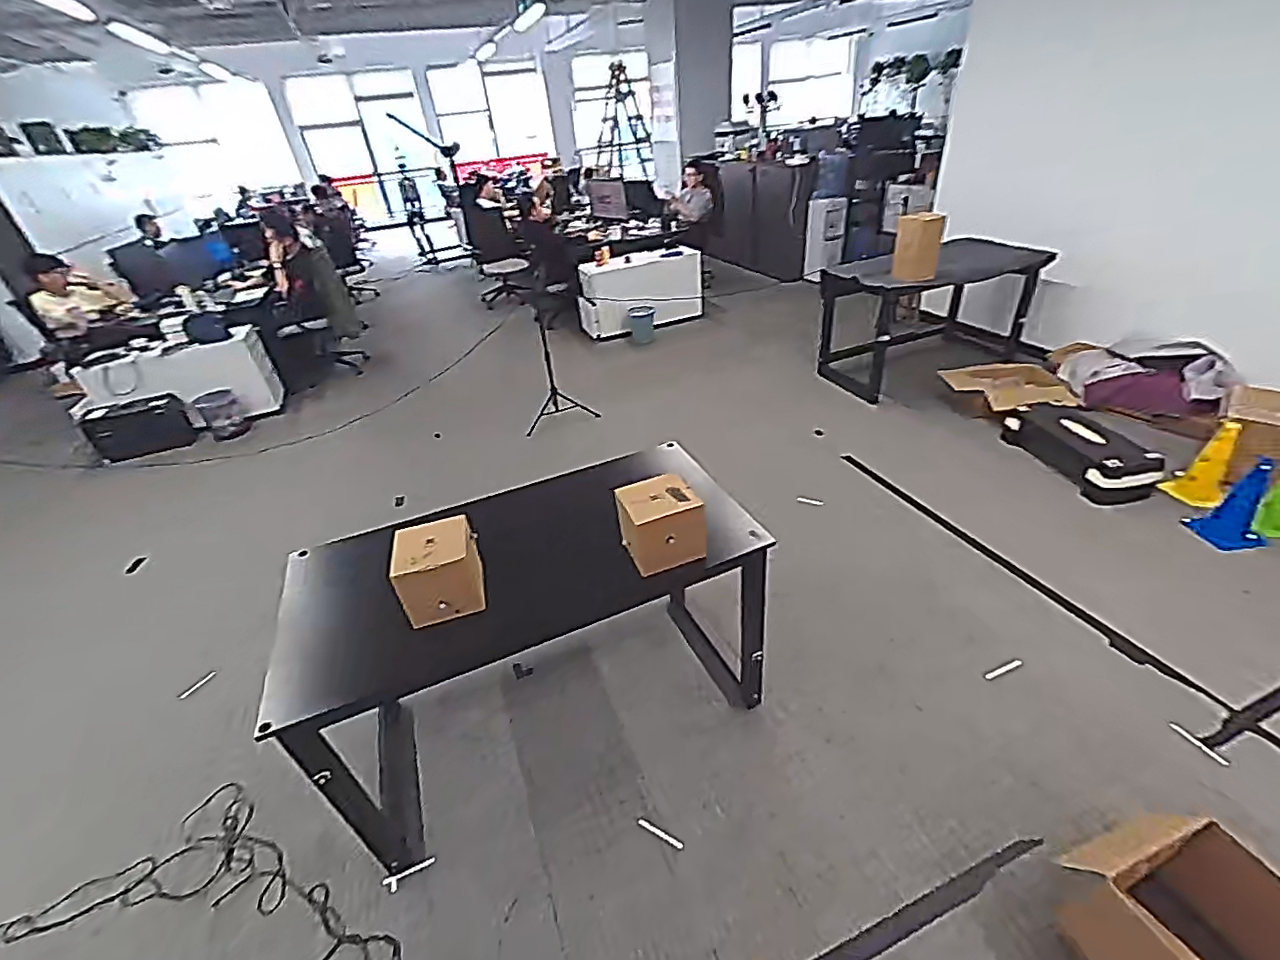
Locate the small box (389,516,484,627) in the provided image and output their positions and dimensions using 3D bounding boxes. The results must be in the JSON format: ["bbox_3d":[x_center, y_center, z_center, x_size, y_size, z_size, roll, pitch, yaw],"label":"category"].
[{"bbox_3d":[-0.478,0.216,1.290,0.168,0.176,0.179,-15,35,-11],"label":"small box"}]

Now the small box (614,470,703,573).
[{"bbox_3d":[0.049,0.104,1.359,0.179,0.176,0.168,-18,35,-13],"label":"small box"}]
